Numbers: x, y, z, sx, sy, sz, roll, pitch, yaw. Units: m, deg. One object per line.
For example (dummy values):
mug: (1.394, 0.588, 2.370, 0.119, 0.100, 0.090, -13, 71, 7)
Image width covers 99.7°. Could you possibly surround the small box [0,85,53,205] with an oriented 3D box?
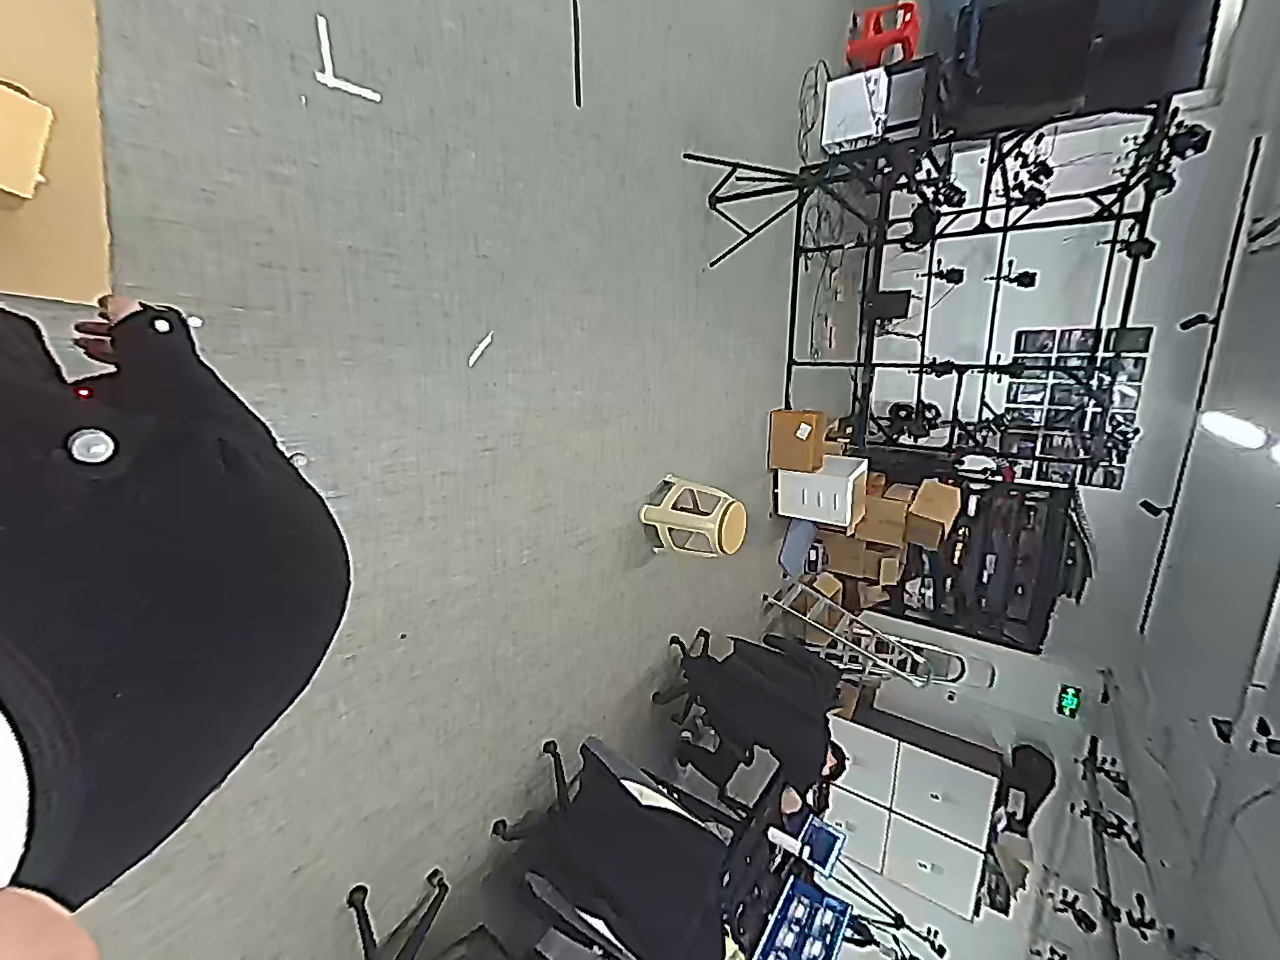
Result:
small box: (-1.159, -0.594, 0.919, 0.179, 0.176, 0.168, 14, 86, -55)
